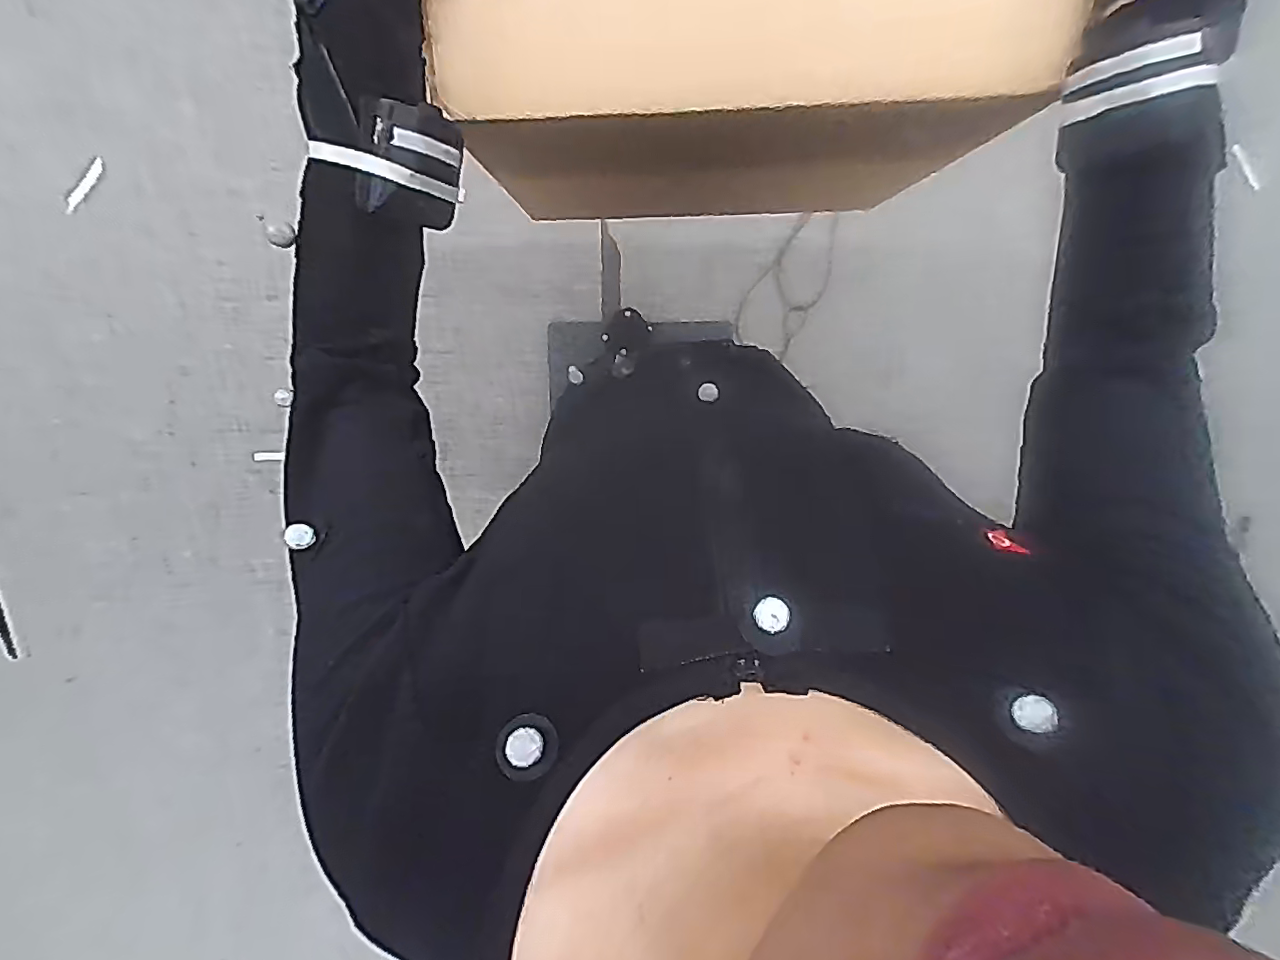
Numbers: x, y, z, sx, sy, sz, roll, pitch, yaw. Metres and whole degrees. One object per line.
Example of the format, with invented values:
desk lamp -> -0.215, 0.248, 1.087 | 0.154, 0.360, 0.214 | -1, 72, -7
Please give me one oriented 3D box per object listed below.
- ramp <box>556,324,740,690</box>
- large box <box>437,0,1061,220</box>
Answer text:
ramp -> 0.023, 0.084, 1.477 | 0.509, 0.206, 0.991 | -2, 103, 2
large box -> 0.062, -0.433, 0.463 | 0.408, 0.320, 0.320 | -2, 105, 1
